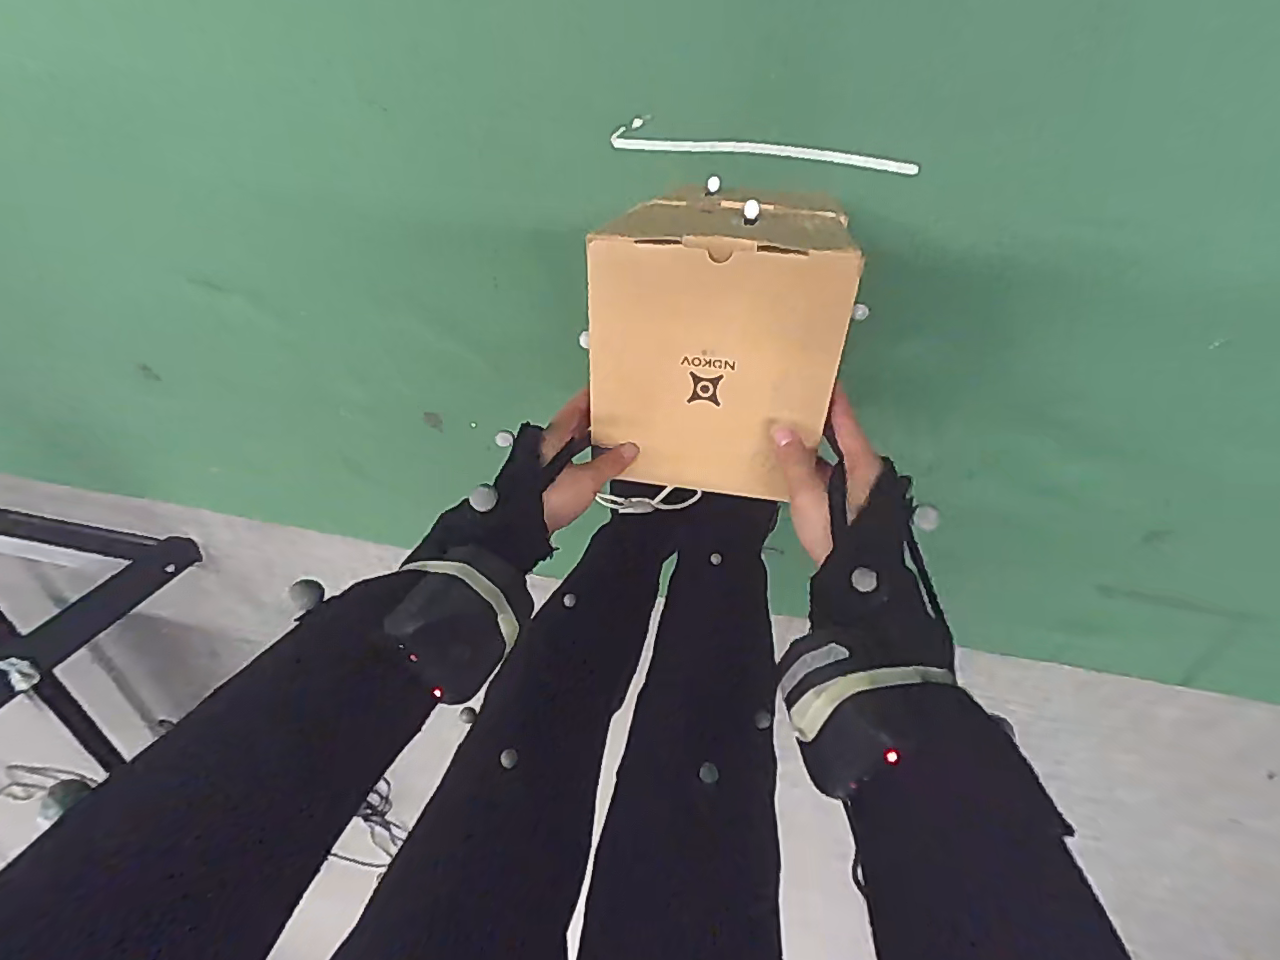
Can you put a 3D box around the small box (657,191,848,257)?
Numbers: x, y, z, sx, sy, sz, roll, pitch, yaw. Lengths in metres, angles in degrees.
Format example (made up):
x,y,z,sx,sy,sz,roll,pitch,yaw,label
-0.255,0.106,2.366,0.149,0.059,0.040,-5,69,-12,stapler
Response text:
x,y,z,sx,sy,sz,roll,pitch,yaw,label
0.102,-0.195,0.565,0.168,0.176,0.179,9,124,9,small box

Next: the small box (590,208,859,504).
x,y,z,sx,sy,sz,roll,pitch,yaw,label
0.062,-0.108,0.433,0.168,0.176,0.179,8,123,9,small box
